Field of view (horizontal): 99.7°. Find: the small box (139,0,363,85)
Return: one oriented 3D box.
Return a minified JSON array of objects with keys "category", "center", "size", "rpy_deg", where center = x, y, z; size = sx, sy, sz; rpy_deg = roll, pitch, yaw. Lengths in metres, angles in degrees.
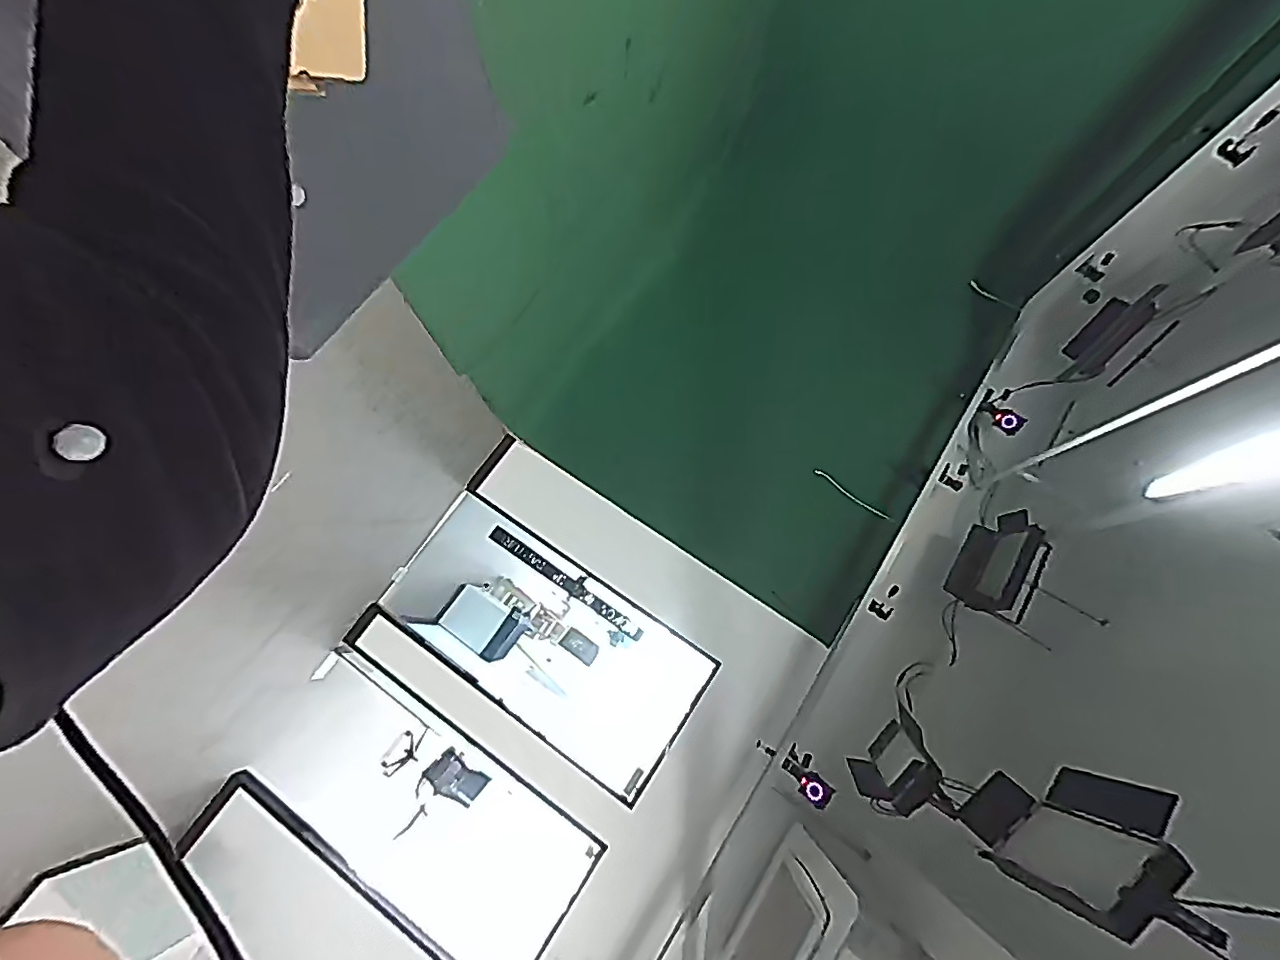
[{"category":"small box","center":[-0.423,-0.562,0.573],"size":[0.168,0.176,0.179],"rpy_deg":[-42,164,-48]}]
